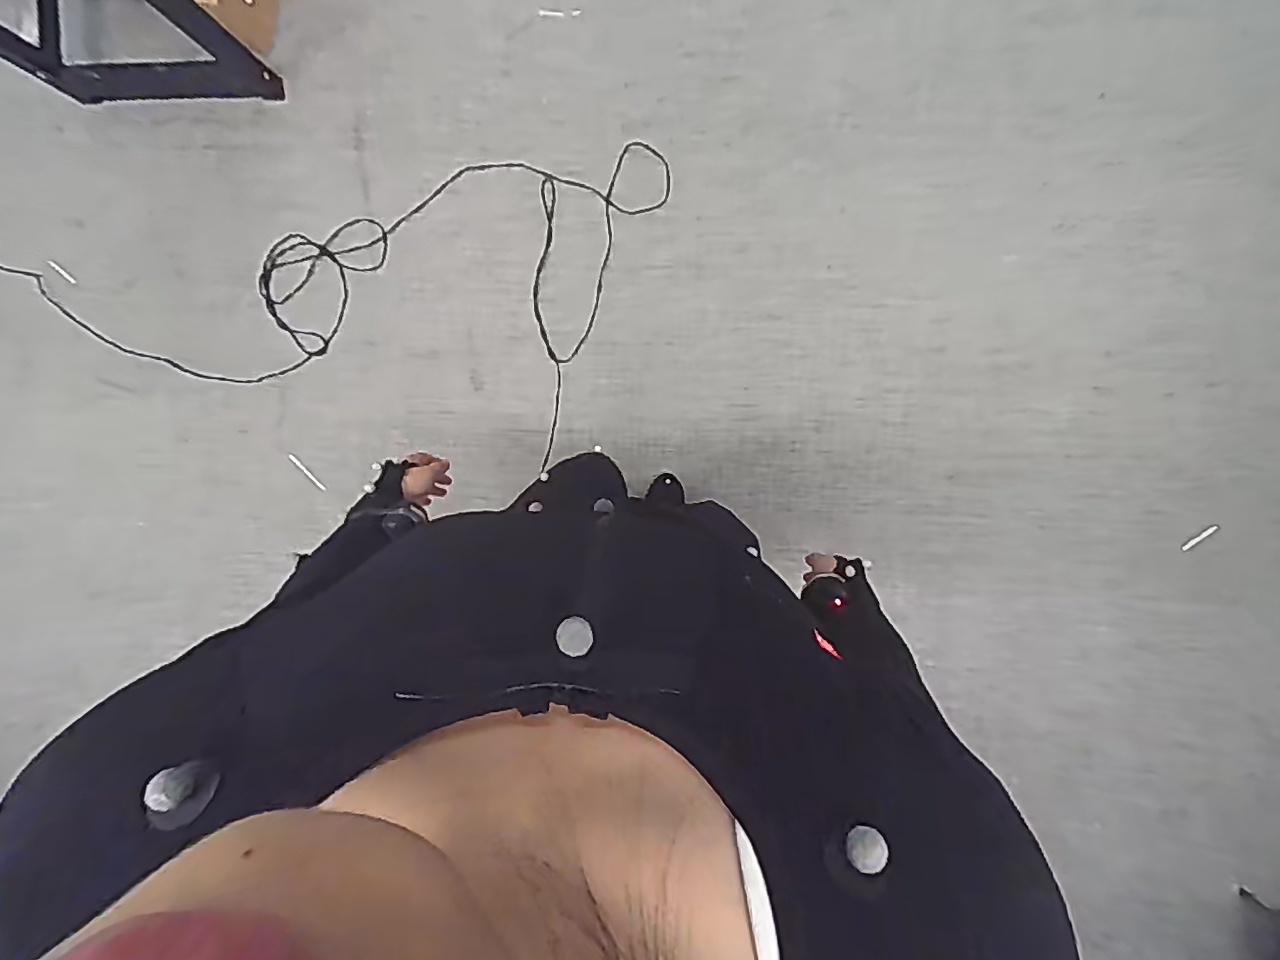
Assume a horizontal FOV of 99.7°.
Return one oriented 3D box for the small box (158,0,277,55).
[{"bbox_3d":[-1.050,-1.216,1.351,0.168,0.176,0.179,14,96,1],"label":"small box"}]
